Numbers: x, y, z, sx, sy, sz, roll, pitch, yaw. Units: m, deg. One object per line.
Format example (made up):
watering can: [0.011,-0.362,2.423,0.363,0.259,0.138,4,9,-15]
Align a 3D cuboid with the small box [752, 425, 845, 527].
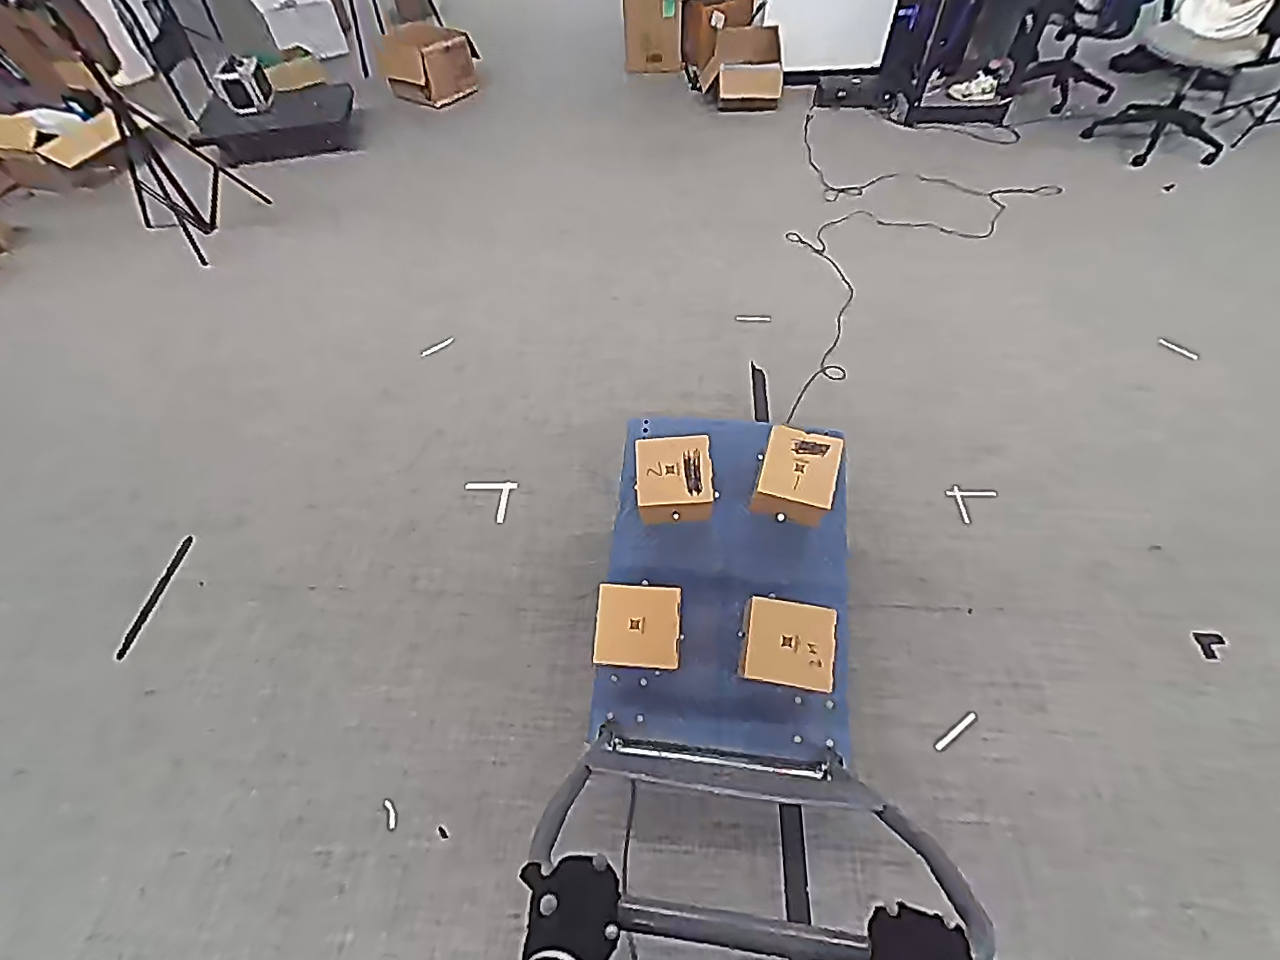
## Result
small box: [0.373,-0.005,1.298,0.168,0.176,0.179,15,73,10]

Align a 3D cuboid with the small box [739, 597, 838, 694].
small box: [0.315,0.360,1.174,0.179,0.176,0.168,8,72,8]

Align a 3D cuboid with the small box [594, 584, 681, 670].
small box: [0.001,0.333,1.210,0.179,0.176,0.168,3,71,4]
